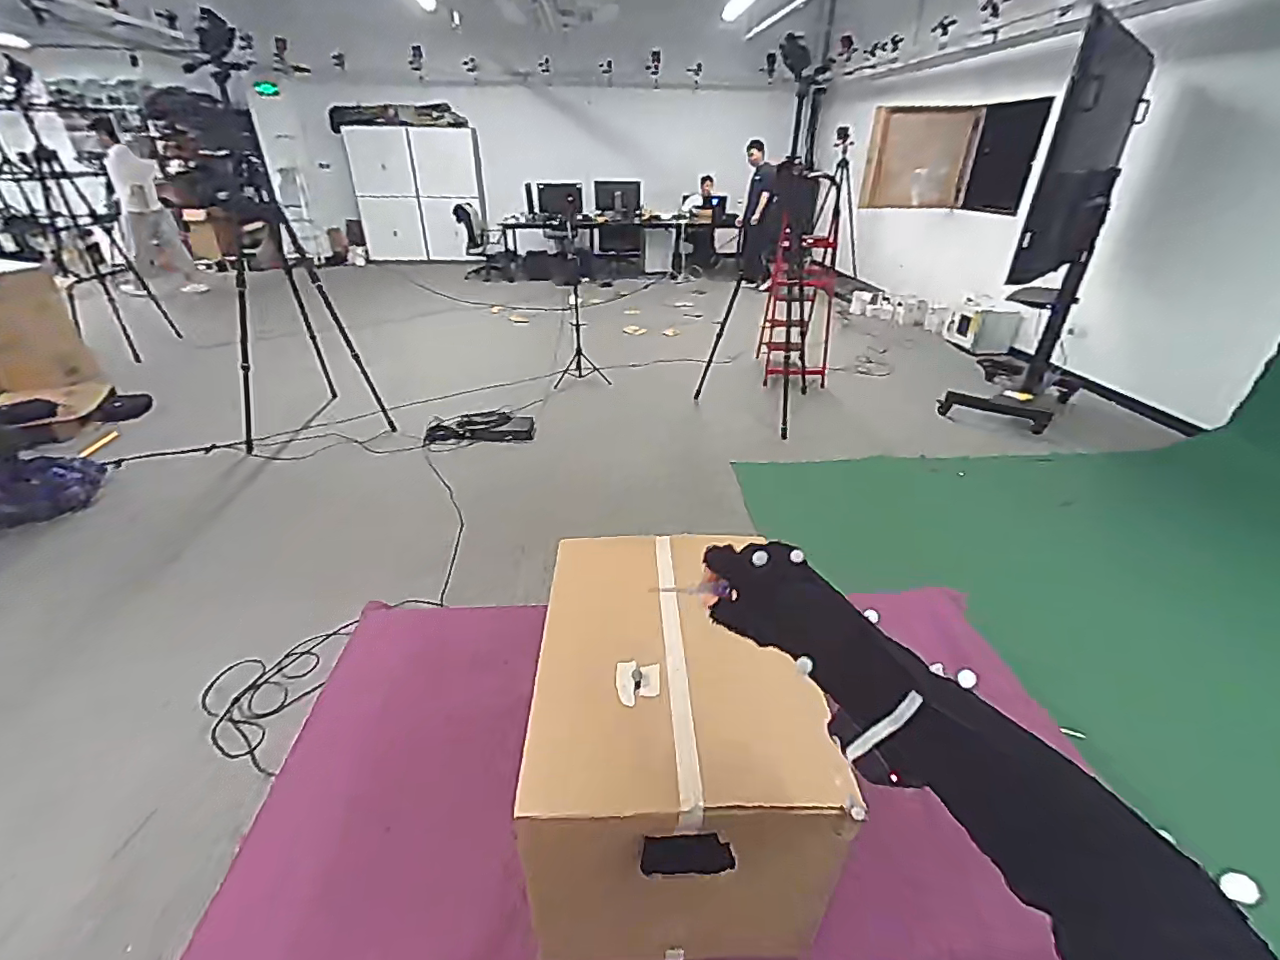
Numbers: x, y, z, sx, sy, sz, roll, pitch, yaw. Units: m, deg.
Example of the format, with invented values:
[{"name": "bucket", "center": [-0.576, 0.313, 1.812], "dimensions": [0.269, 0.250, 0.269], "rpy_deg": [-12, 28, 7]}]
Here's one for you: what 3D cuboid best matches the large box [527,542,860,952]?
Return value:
[{"name": "large box", "center": [0.038, 0.327, 0.732], "dimensions": [0.320, 0.320, 0.408], "rpy_deg": [0, 31, -2]}]
